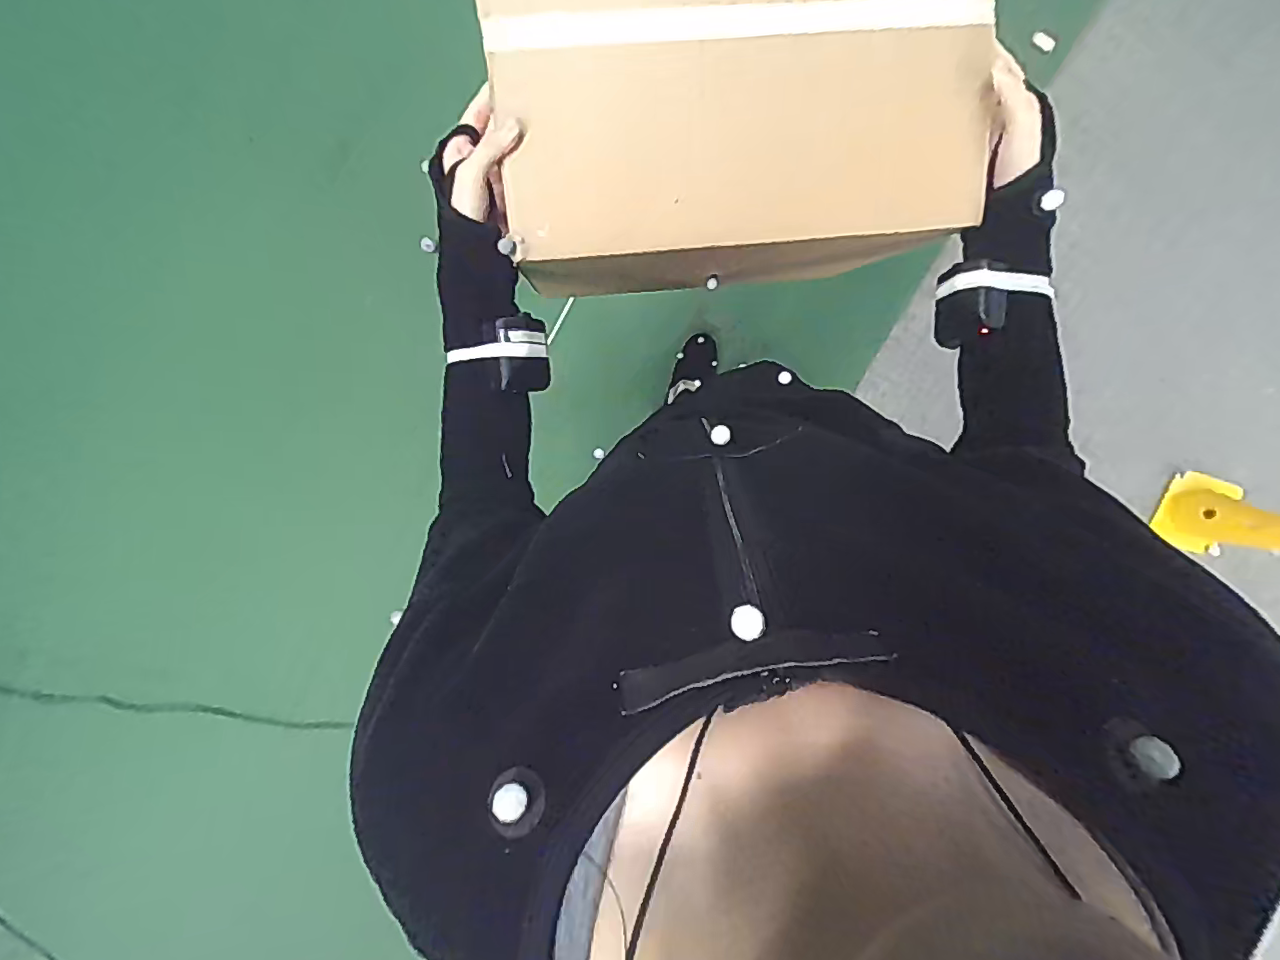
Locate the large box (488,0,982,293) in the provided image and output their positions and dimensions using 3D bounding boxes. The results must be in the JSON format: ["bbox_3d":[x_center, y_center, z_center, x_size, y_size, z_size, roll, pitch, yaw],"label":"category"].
[{"bbox_3d":[0.072,-0.388,0.578,0.408,0.320,0.320,-5,103,-4],"label":"large box"}]
